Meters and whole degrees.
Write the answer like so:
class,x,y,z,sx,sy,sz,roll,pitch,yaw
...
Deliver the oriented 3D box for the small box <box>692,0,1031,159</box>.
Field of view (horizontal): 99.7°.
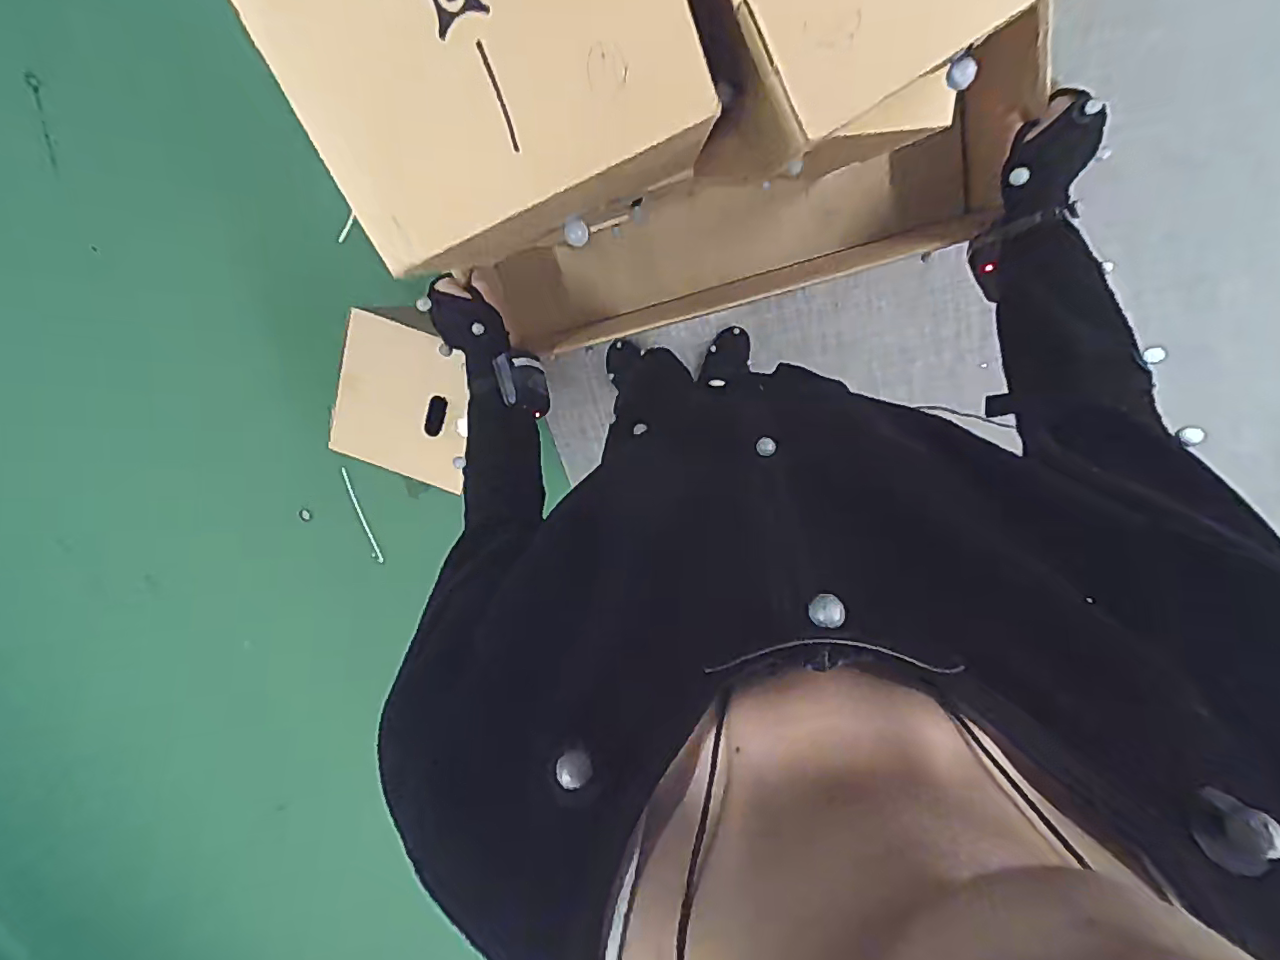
class,x,y,z,sx,sy,sz,roll,pitch,yaw
small box,0.110,-0.284,0.254,0.179,0.176,0.168,-27,109,15
